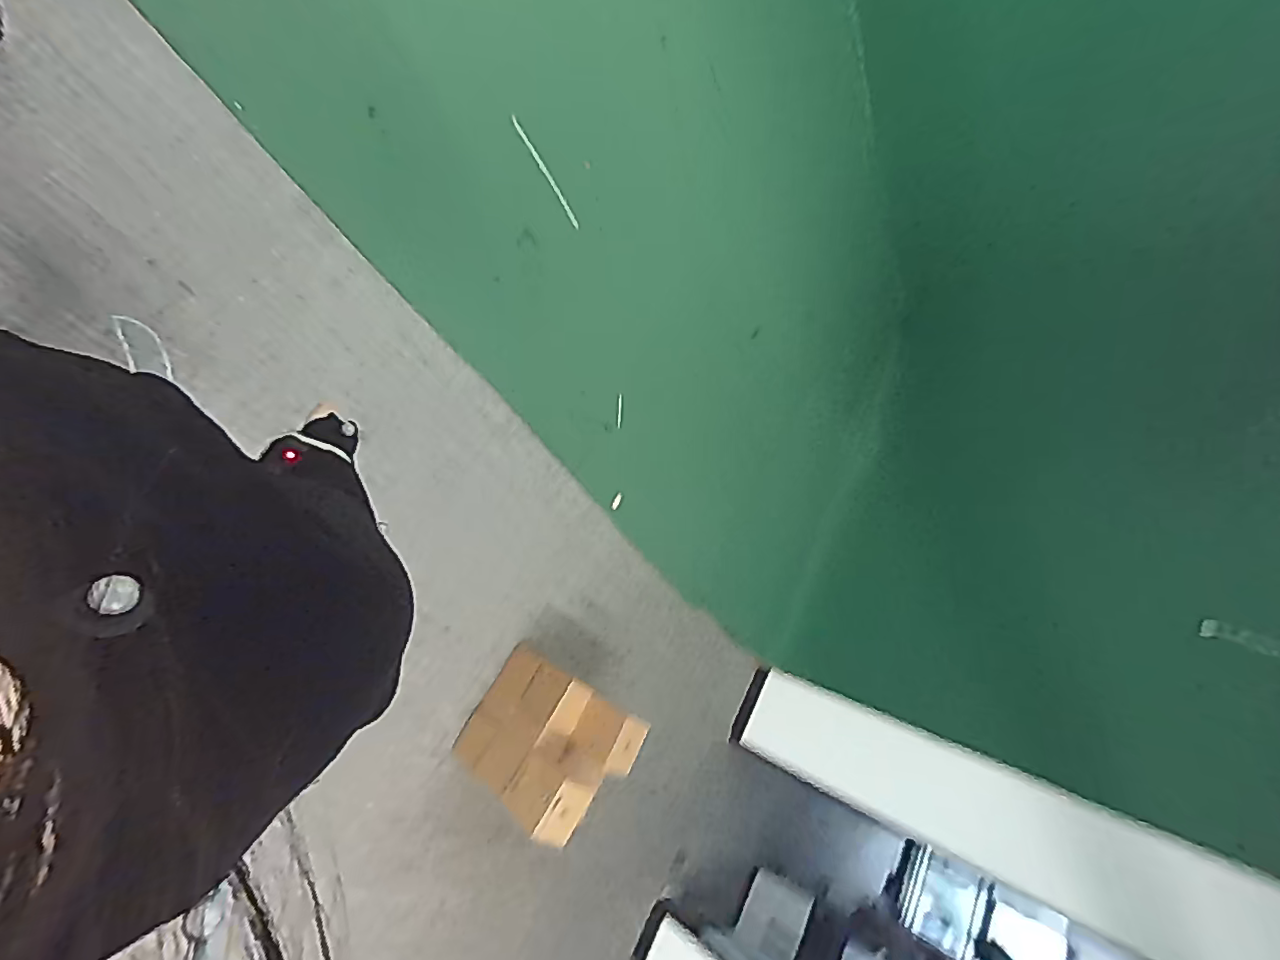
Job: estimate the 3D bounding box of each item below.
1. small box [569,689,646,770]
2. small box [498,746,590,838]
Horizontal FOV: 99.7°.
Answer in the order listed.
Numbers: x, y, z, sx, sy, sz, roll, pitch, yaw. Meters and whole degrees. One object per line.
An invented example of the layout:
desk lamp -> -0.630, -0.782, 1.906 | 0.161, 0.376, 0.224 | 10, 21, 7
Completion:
small box -> -0.116, 0.842, 1.829 | 0.179, 0.176, 0.168 | -61, 139, -20
small box -> -0.293, 0.946, 1.648 | 0.168, 0.176, 0.179 | -55, 136, -23
